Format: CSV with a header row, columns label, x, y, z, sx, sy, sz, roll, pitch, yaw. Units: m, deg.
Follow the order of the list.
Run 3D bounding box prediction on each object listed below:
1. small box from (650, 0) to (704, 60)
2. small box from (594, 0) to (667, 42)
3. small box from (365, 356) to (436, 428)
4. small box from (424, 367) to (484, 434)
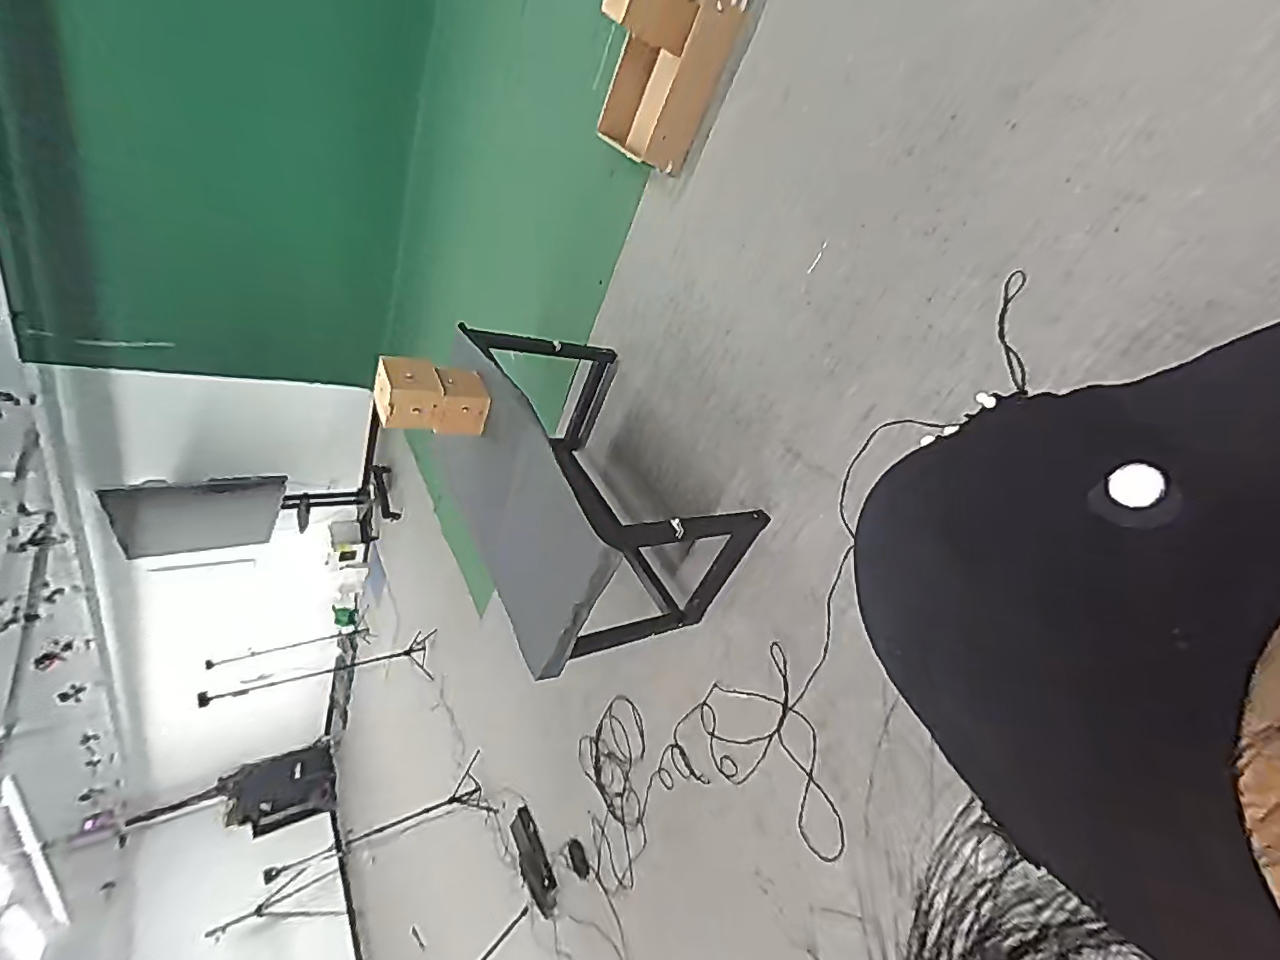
label,x,y,z,sx,sy,sz,roll,pitch,yaw
small box,0.098,-1.673,1.960,0.179,0.176,0.168,57,132,28
small box,-0.025,-1.661,1.851,0.179,0.176,0.168,-55,53,37
small box,-0.793,-0.291,1.793,0.179,0.176,0.168,57,132,30
small box,-0.667,-0.278,1.900,0.179,0.176,0.168,55,131,33
